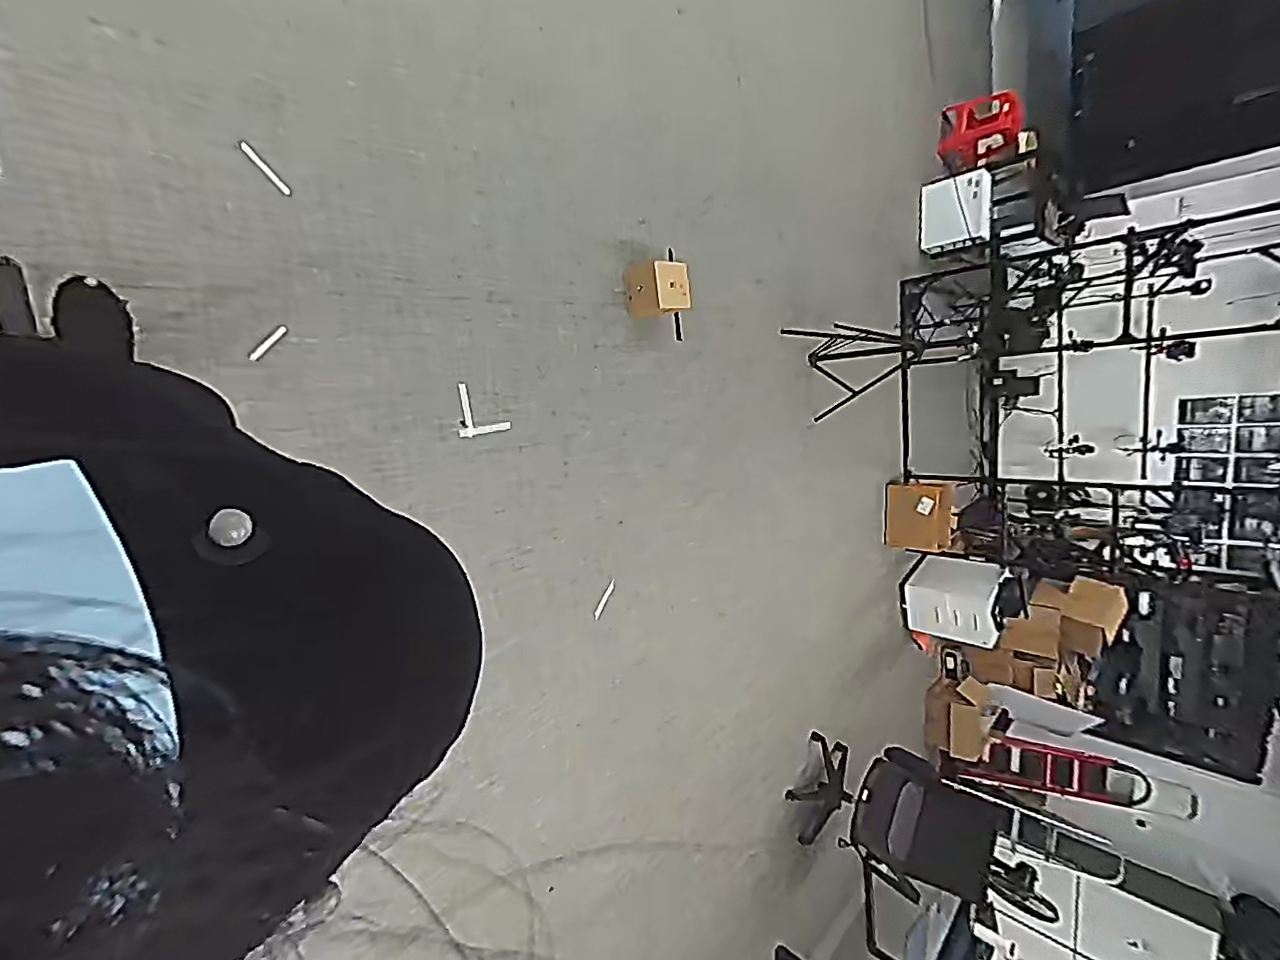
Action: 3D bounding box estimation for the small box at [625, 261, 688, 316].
[{"bbox_3d":[0.056,-0.713,2.027,0.179,0.176,0.168,-17,105,-43],"label":"small box"}]
